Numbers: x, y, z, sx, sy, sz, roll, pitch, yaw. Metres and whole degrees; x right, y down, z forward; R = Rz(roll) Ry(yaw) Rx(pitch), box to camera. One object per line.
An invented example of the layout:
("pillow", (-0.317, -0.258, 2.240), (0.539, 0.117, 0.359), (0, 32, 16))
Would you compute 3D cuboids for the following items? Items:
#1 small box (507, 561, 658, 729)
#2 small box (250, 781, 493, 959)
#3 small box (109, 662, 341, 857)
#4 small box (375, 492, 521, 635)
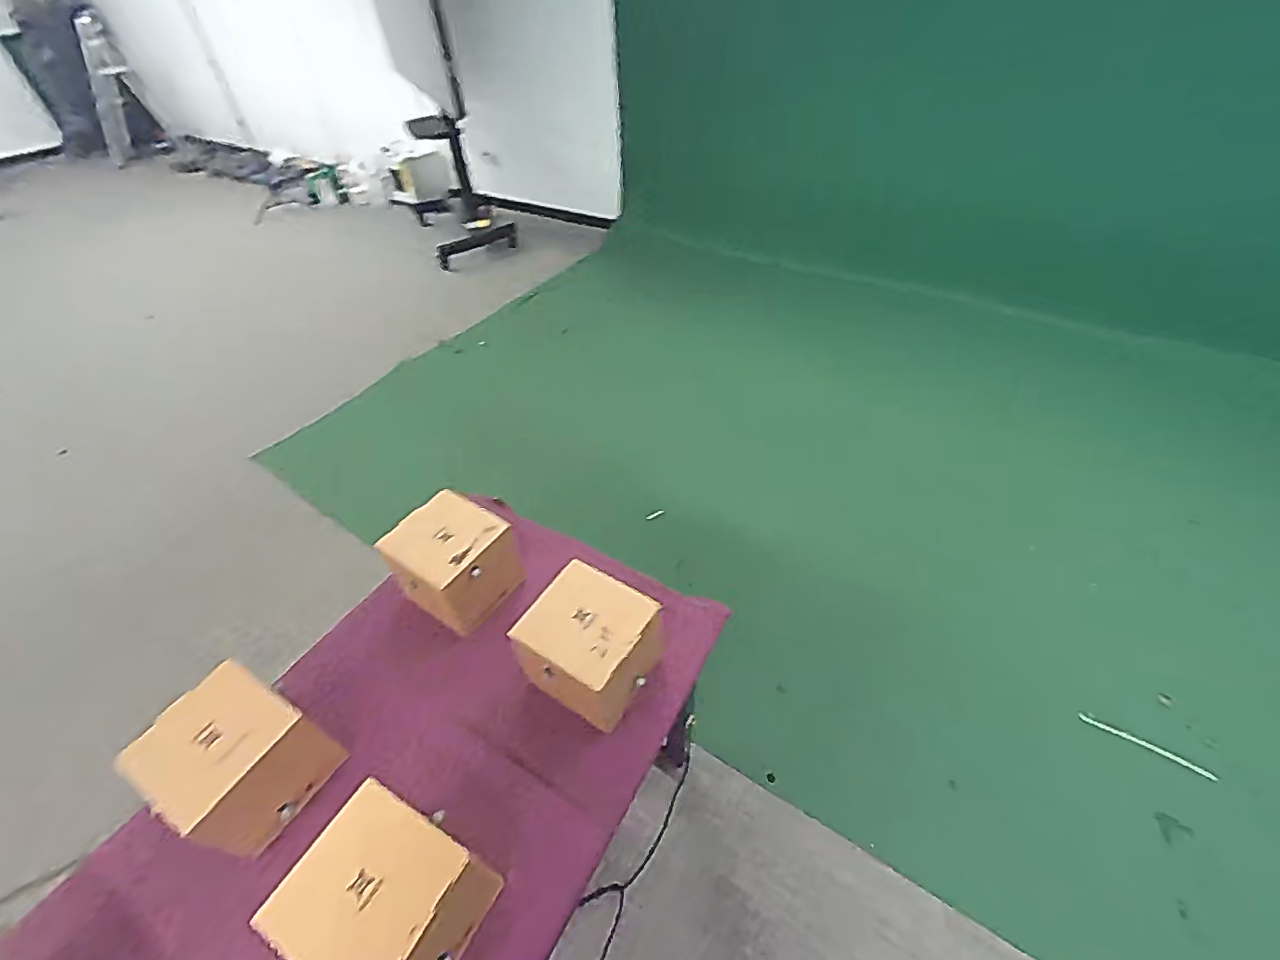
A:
("small box", (-0.084, 0.272, 0.885), (0.179, 0.176, 0.168), (24, 52, 25))
("small box", (-0.308, 0.513, 0.656), (0.179, 0.176, 0.168), (20, 48, 22))
("small box", (-0.580, 0.404, 0.779), (0.179, 0.176, 0.168), (22, 50, 21))
("small box", (-0.351, 0.159, 1.016), (0.179, 0.176, 0.168), (24, 51, 25))
